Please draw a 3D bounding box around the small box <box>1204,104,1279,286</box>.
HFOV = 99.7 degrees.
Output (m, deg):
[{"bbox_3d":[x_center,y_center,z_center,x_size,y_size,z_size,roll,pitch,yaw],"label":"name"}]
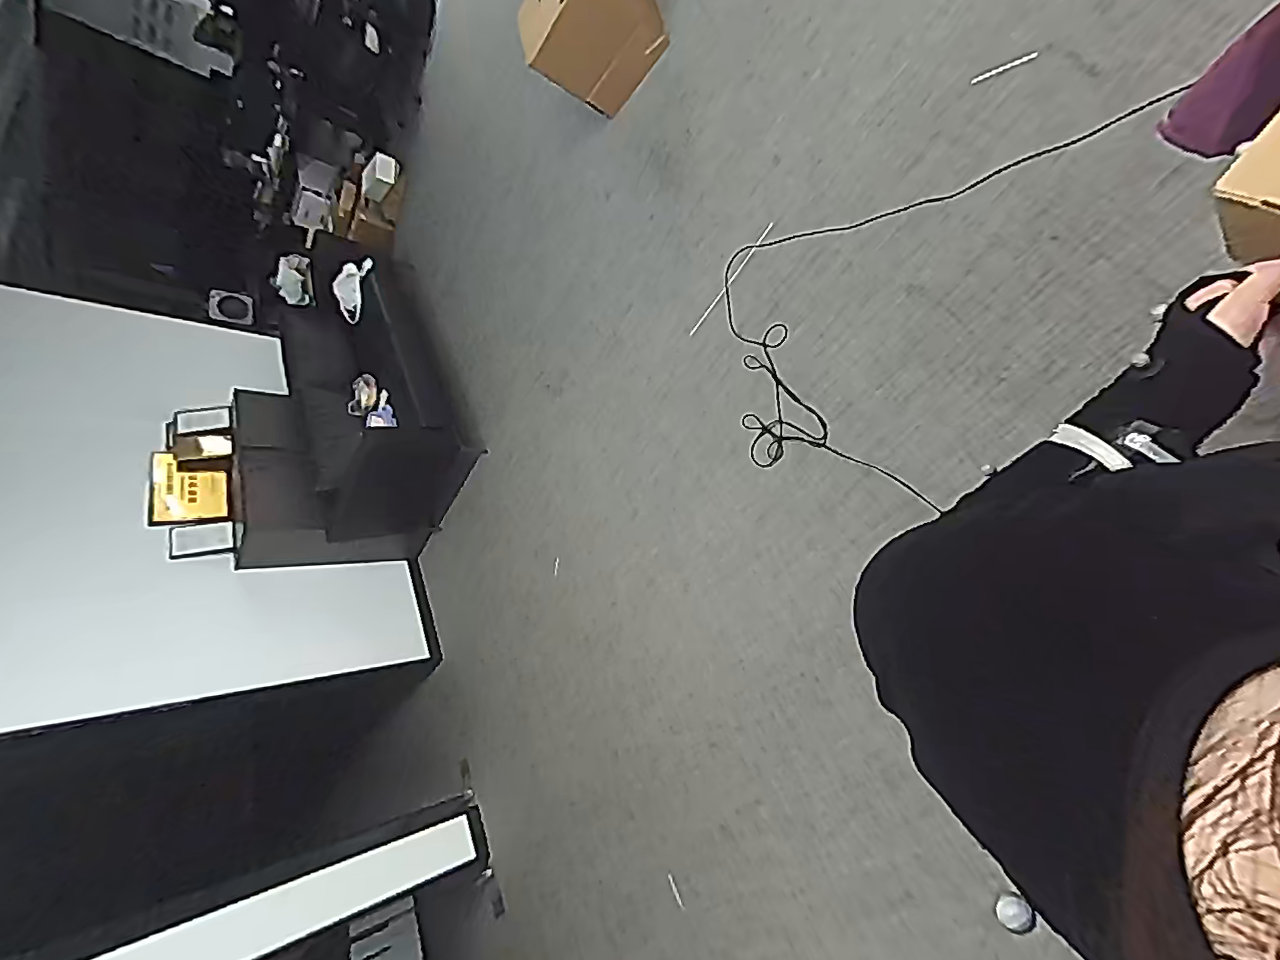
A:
[{"bbox_3d":[0.560,-0.227,0.373,0.168,0.176,0.179,52,126,39],"label":"small box"}]
